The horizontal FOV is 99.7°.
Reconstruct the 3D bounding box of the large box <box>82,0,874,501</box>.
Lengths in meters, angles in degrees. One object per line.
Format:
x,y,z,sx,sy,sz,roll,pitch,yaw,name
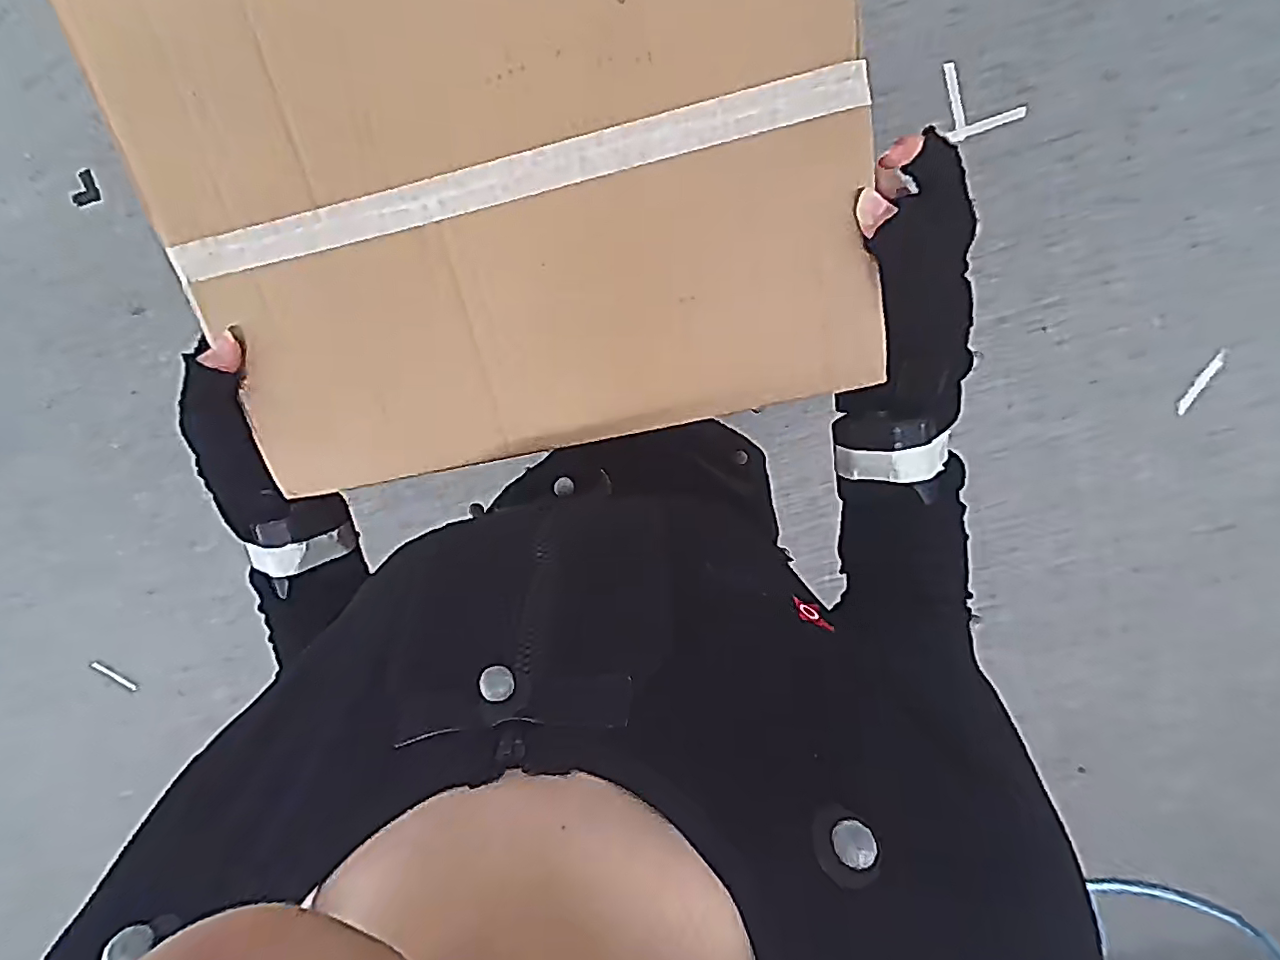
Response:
-0.068,-0.214,0.454,0.408,0.320,0.320,-10,108,7,large box
